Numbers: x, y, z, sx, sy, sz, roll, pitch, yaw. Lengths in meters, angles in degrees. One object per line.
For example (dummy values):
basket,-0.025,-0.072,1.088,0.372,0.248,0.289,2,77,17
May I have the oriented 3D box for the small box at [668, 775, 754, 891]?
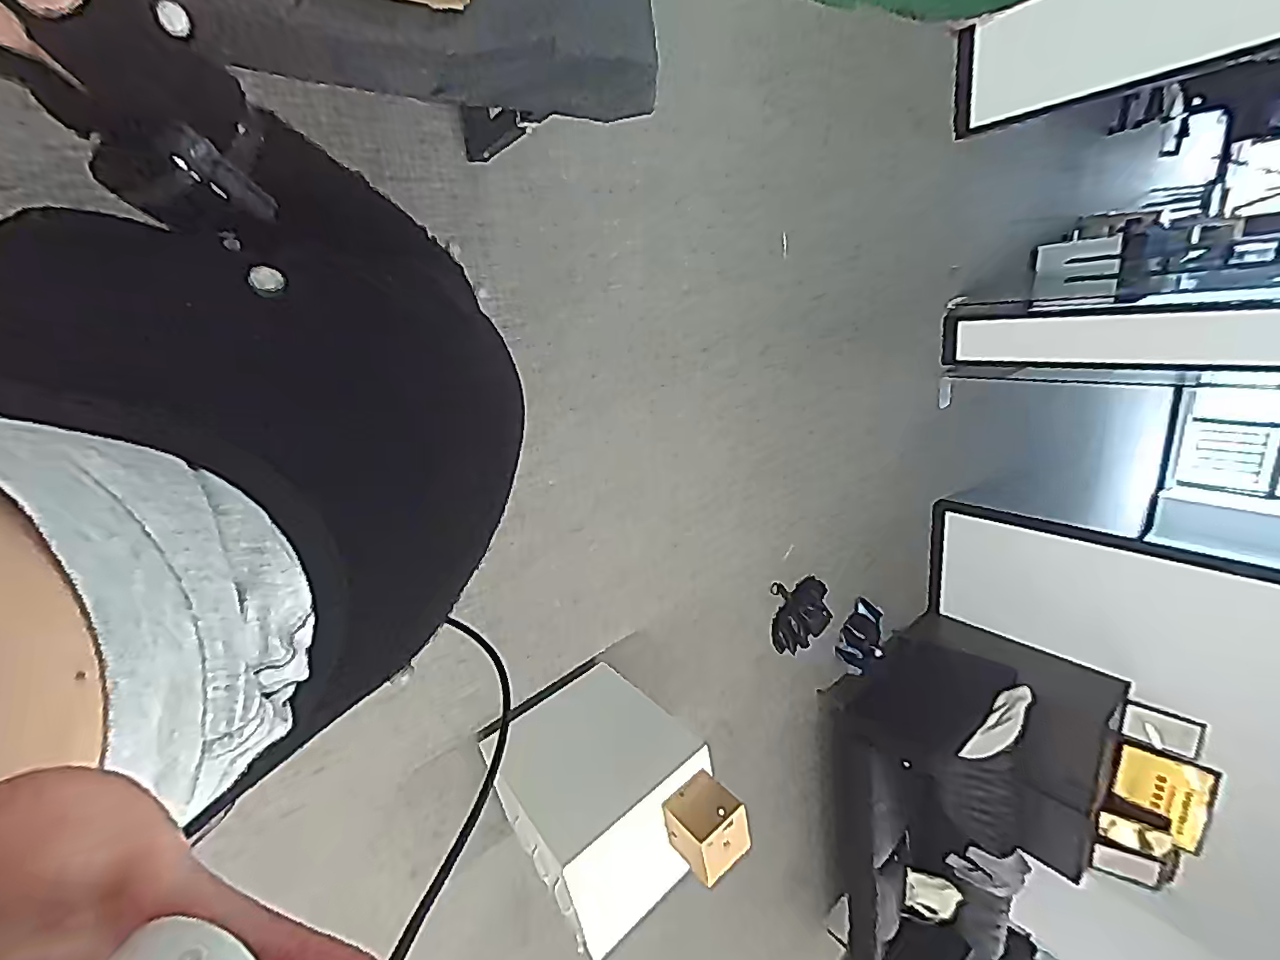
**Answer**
small box,0.198,0.983,1.521,0.168,0.176,0.179,-24,116,-31
